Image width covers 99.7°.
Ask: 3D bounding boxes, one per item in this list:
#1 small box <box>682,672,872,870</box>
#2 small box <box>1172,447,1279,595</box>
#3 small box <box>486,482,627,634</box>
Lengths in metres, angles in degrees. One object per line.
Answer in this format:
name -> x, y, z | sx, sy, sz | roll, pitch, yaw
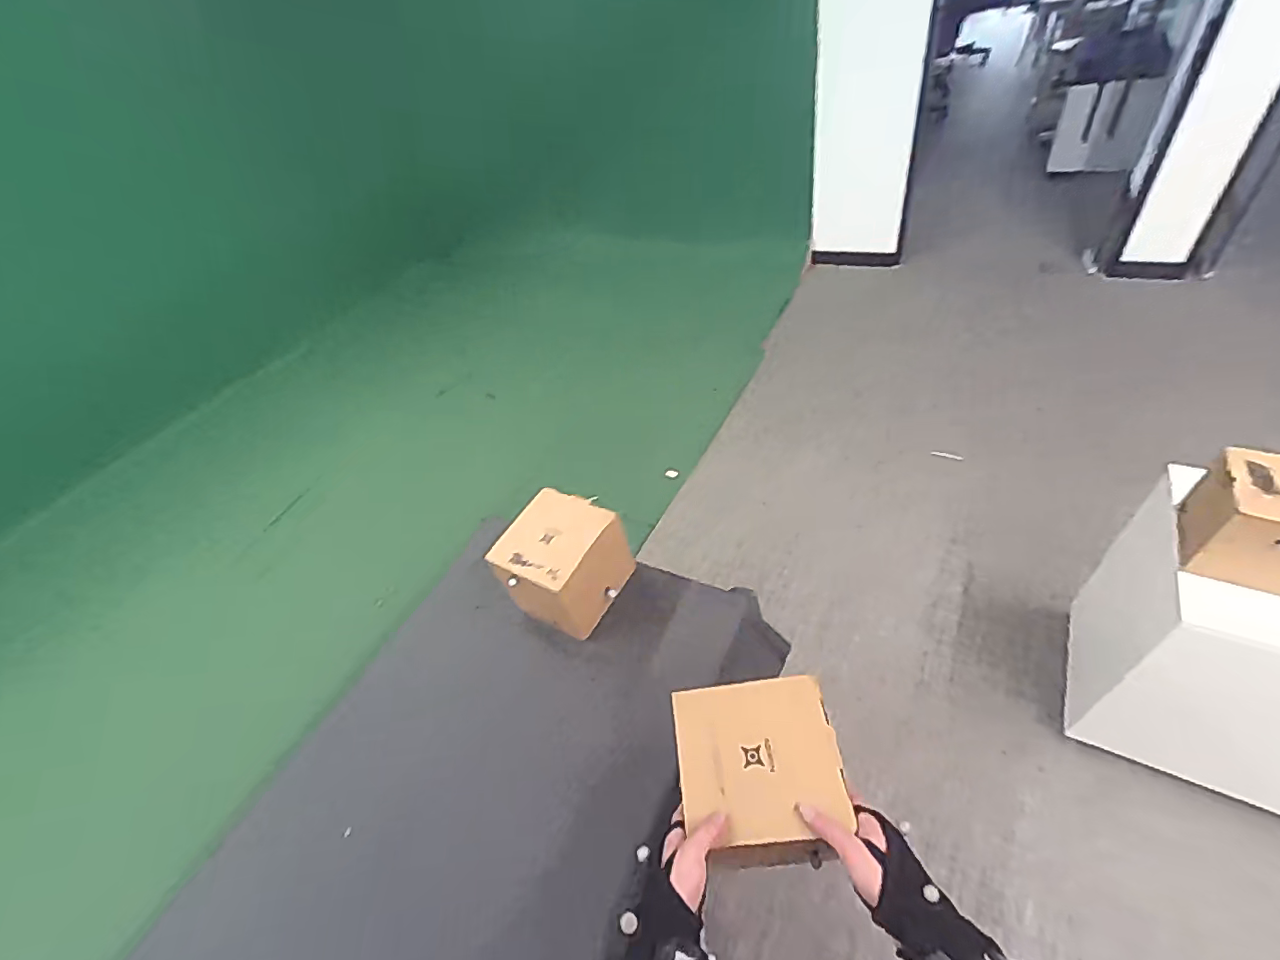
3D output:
small box -> 0.155, 0.352, 0.649 | 0.179, 0.176, 0.168 | -11, 46, 6
small box -> 1.066, 0.074, 0.932 | 0.179, 0.176, 0.168 | 17, 53, 24
small box -> -0.137, 0.139, 0.967 | 0.168, 0.176, 0.179 | 19, 54, 28
